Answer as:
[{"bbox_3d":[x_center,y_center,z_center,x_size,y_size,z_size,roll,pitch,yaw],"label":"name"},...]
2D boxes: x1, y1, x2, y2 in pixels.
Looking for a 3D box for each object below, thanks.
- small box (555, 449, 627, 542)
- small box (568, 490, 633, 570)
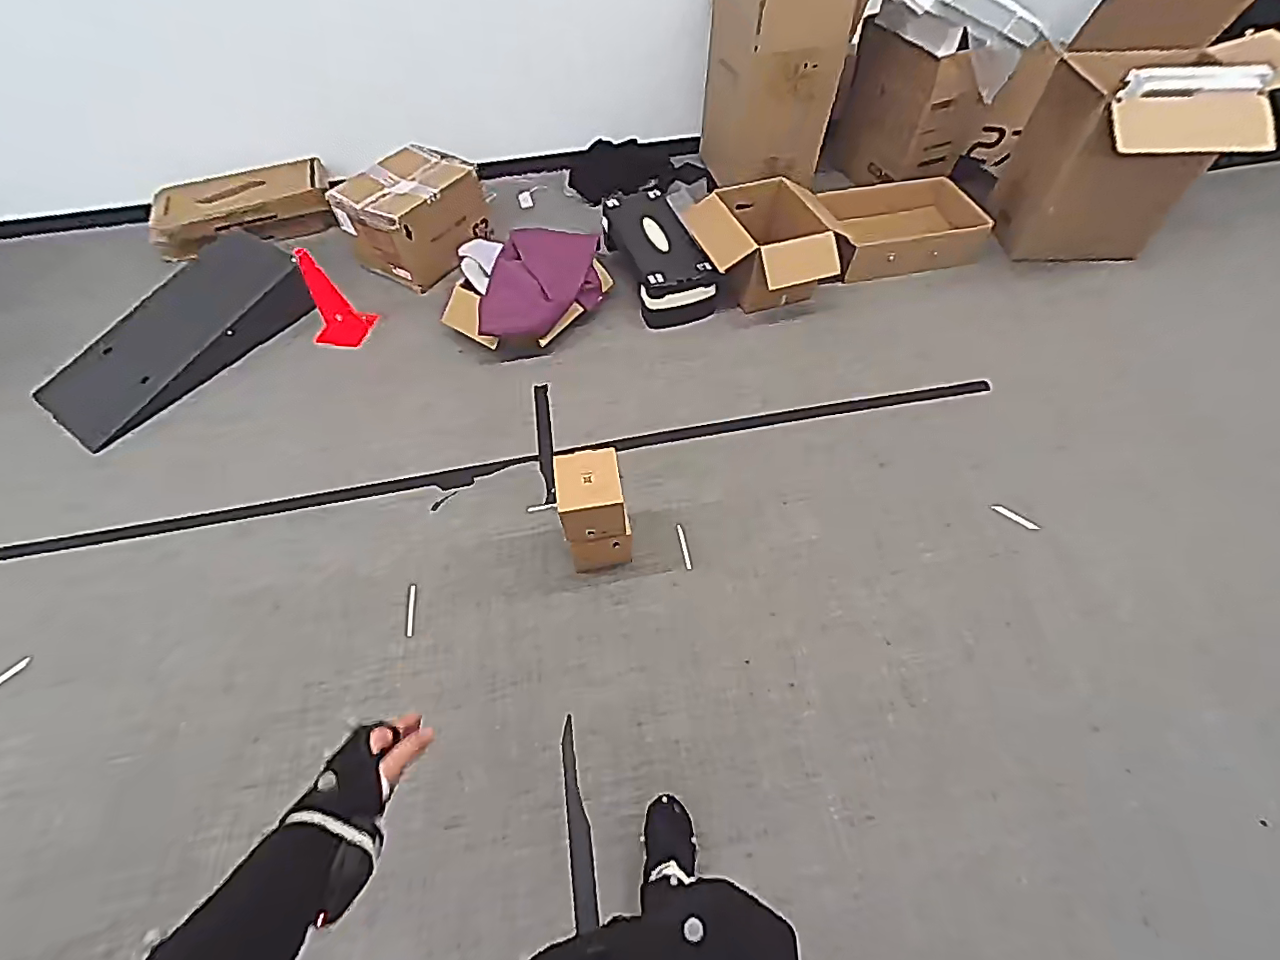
[{"bbox_3d":[-0.129,0.044,1.442,0.168,0.176,0.179,-9,58,-4],"label":"small box"},{"bbox_3d":[-0.119,0.143,1.571,0.179,0.176,0.168,-10,57,-5],"label":"small box"}]
